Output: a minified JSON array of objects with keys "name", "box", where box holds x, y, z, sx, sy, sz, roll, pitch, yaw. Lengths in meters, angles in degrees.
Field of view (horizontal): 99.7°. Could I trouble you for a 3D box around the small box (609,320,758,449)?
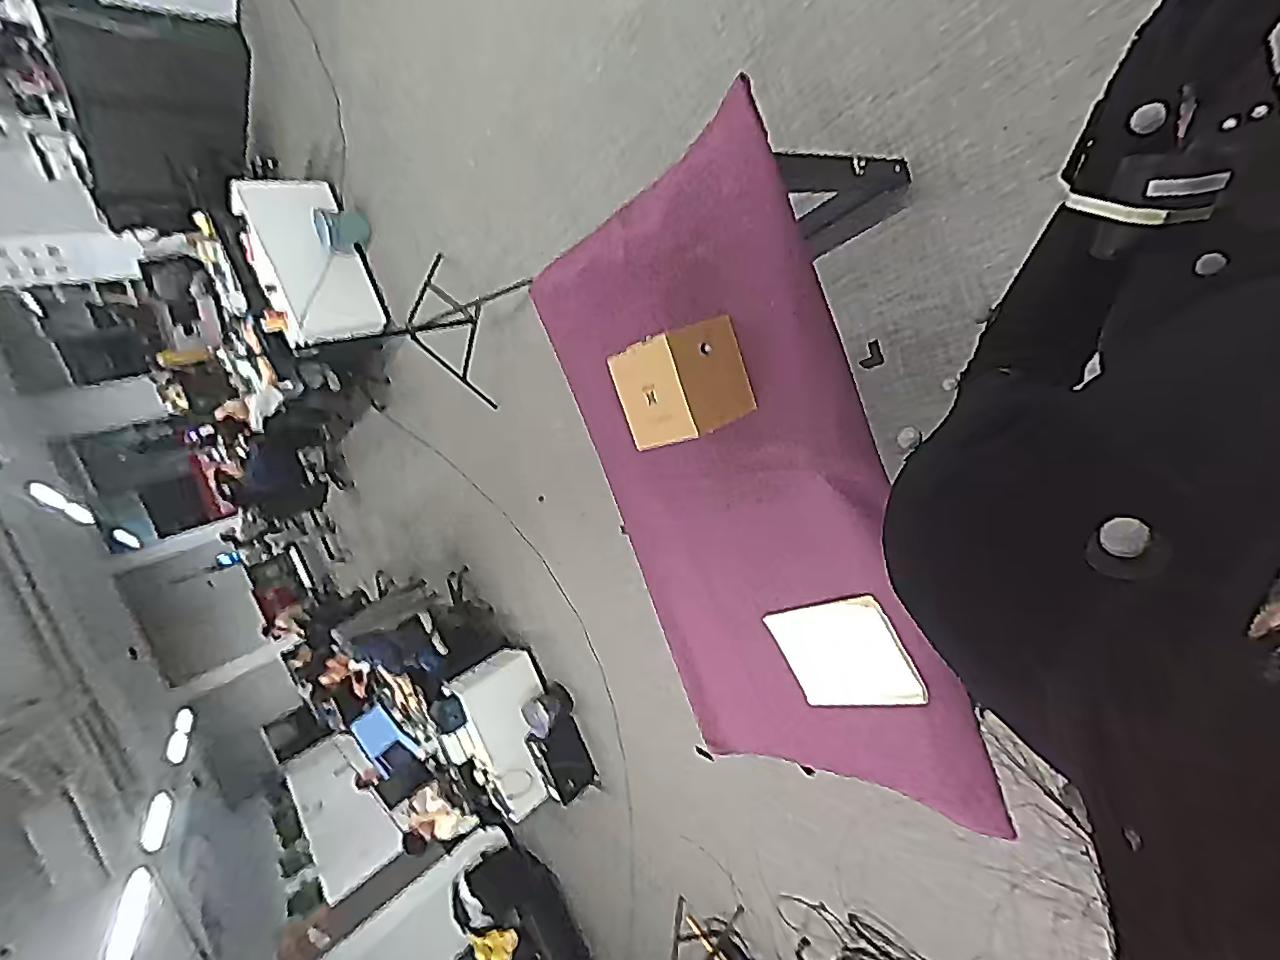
[{"name":"small box","box":[0.080,-0.173,0.964,0.168,0.176,0.179,-9,104,53]}]
